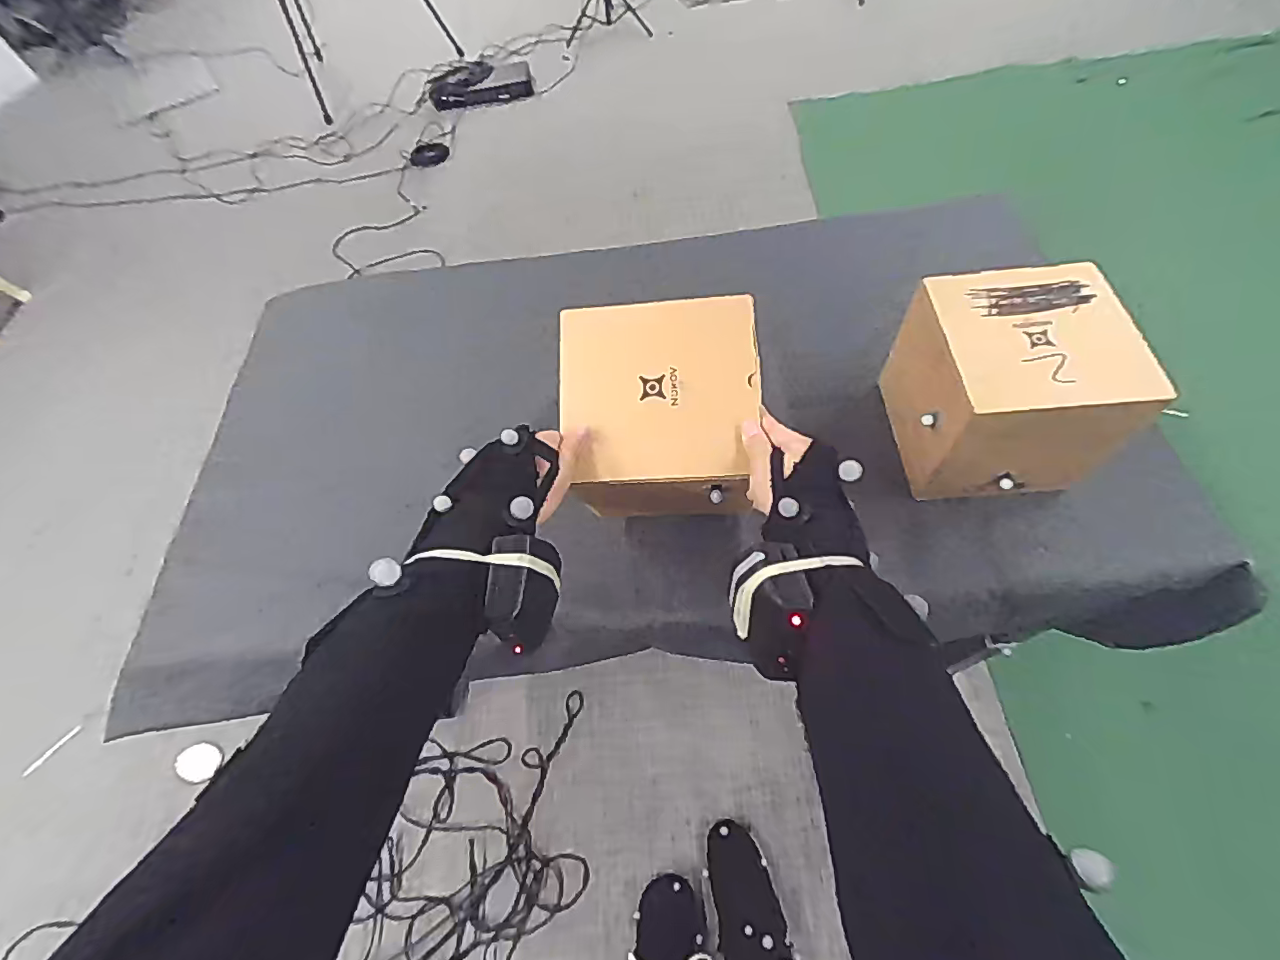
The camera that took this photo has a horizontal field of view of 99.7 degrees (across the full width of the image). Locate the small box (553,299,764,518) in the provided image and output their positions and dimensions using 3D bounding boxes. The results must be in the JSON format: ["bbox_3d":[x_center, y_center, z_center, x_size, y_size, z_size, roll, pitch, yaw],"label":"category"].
[{"bbox_3d":[0.022,-0.057,0.538,0.179,0.176,0.168,-2,76,5],"label":"small box"}]
